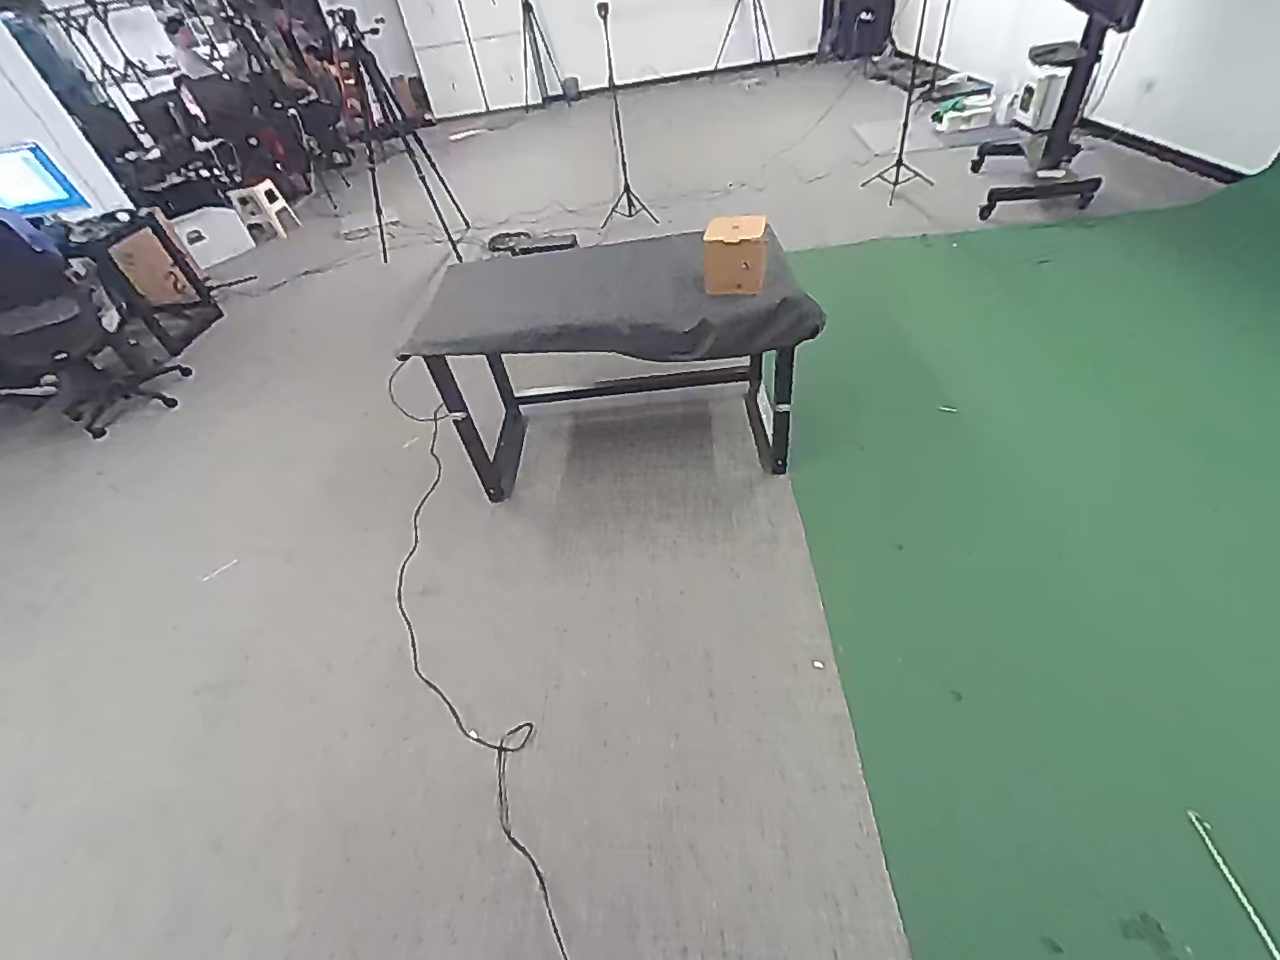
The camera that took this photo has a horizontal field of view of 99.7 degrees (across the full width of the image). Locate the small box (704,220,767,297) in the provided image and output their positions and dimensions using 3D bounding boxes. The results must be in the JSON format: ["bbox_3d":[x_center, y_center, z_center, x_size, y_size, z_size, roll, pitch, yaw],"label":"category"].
[{"bbox_3d":[0.290,-0.662,1.626,0.168,0.176,0.179,5,43,15],"label":"small box"}]
